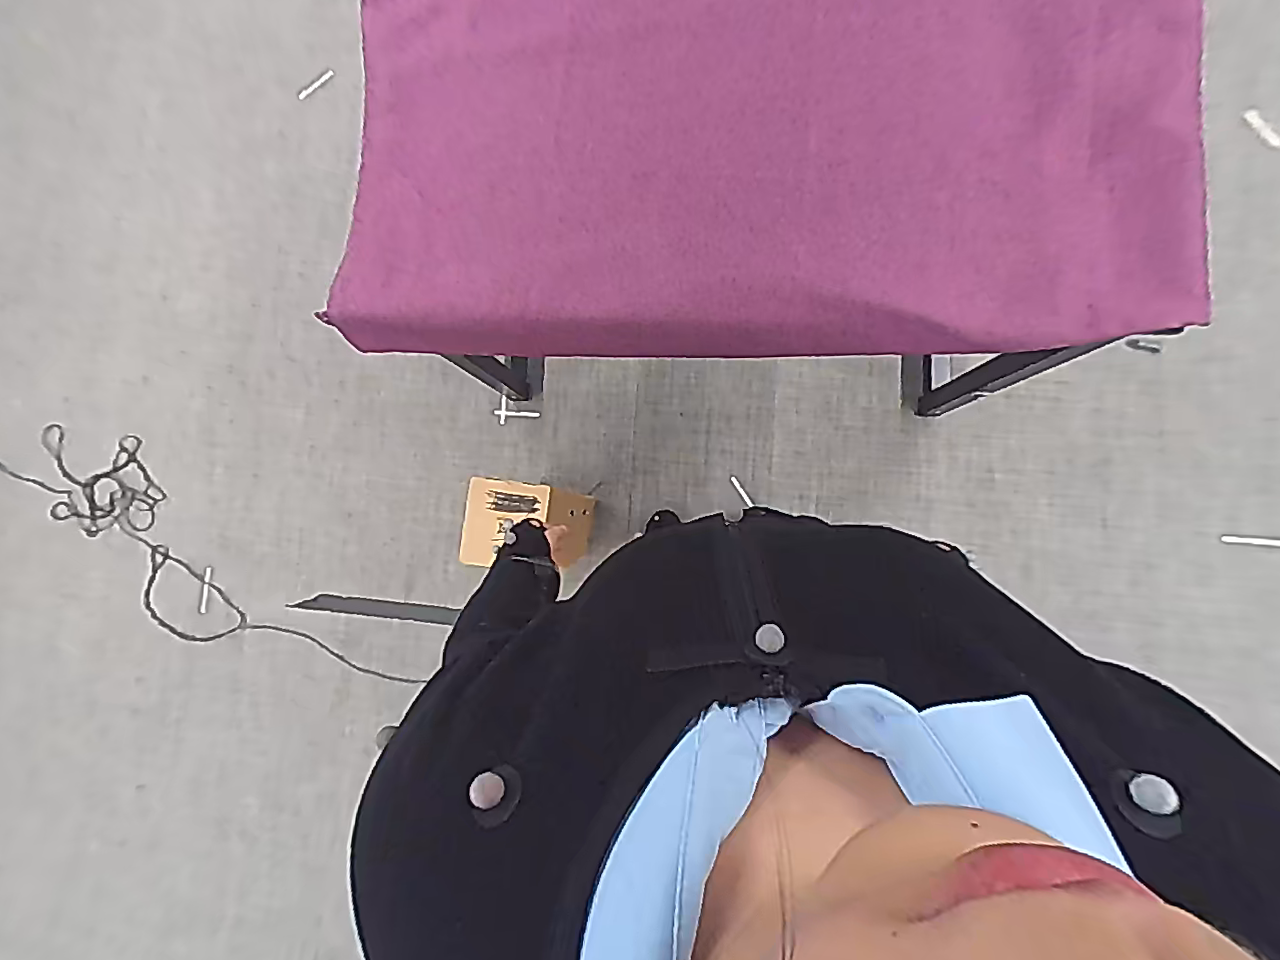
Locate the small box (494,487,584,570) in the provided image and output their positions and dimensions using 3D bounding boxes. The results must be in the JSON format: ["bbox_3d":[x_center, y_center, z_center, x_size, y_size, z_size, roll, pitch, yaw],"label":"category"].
[{"bbox_3d":[-0.234,0.115,1.296,0.168,0.176,0.179,5,87,6],"label":"small box"}]

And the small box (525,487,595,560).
[{"bbox_3d":[-0.226,0.122,1.461,0.168,0.176,0.179,10,87,6],"label":"small box"}]
